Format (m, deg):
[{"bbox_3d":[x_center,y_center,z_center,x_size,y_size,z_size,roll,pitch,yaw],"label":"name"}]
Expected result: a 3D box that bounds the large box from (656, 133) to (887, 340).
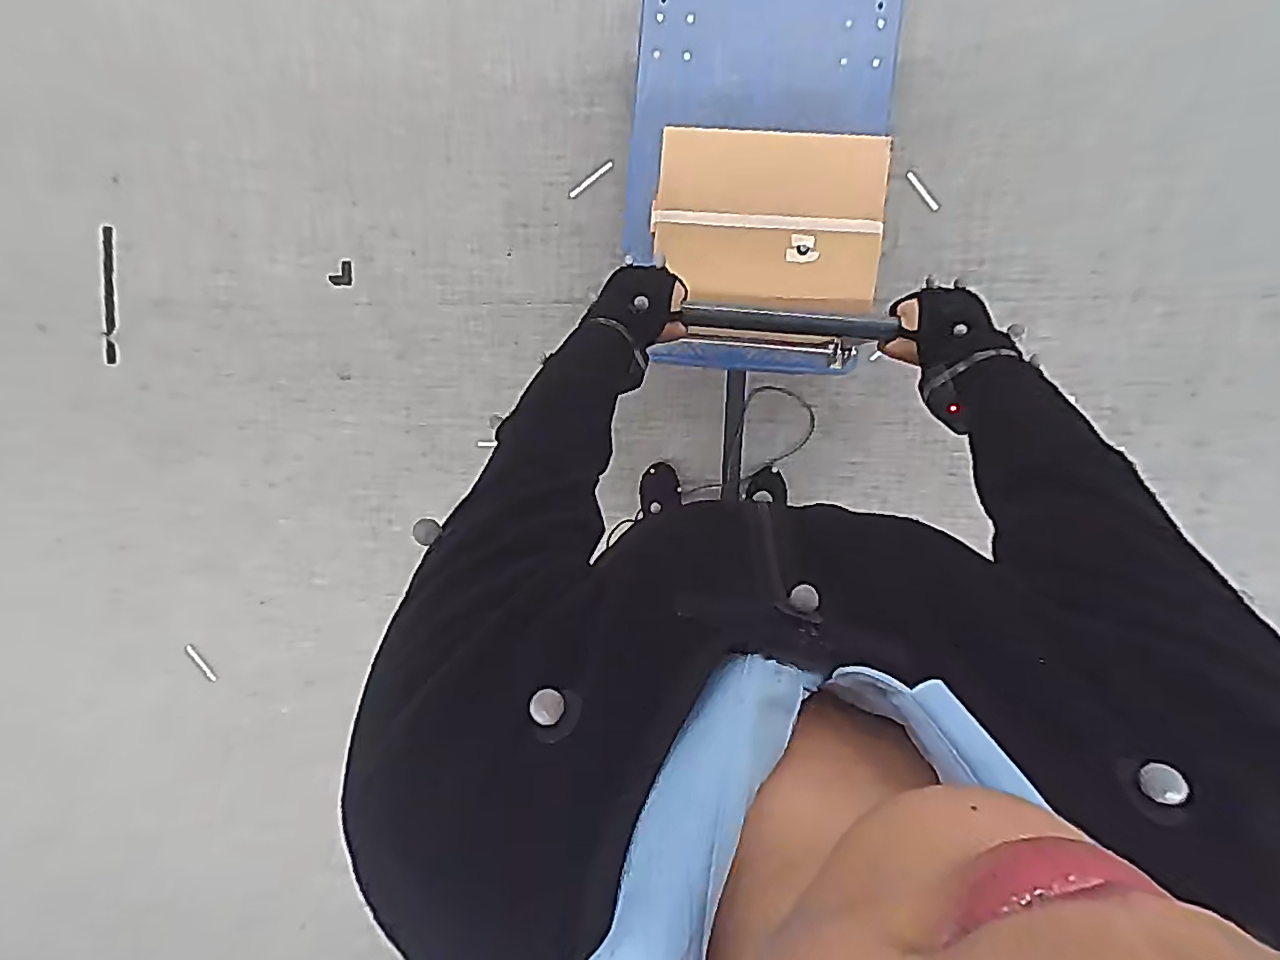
[{"bbox_3d":[0.243,-0.483,1.138,0.408,0.320,0.320,5,96,3],"label":"large box"}]
